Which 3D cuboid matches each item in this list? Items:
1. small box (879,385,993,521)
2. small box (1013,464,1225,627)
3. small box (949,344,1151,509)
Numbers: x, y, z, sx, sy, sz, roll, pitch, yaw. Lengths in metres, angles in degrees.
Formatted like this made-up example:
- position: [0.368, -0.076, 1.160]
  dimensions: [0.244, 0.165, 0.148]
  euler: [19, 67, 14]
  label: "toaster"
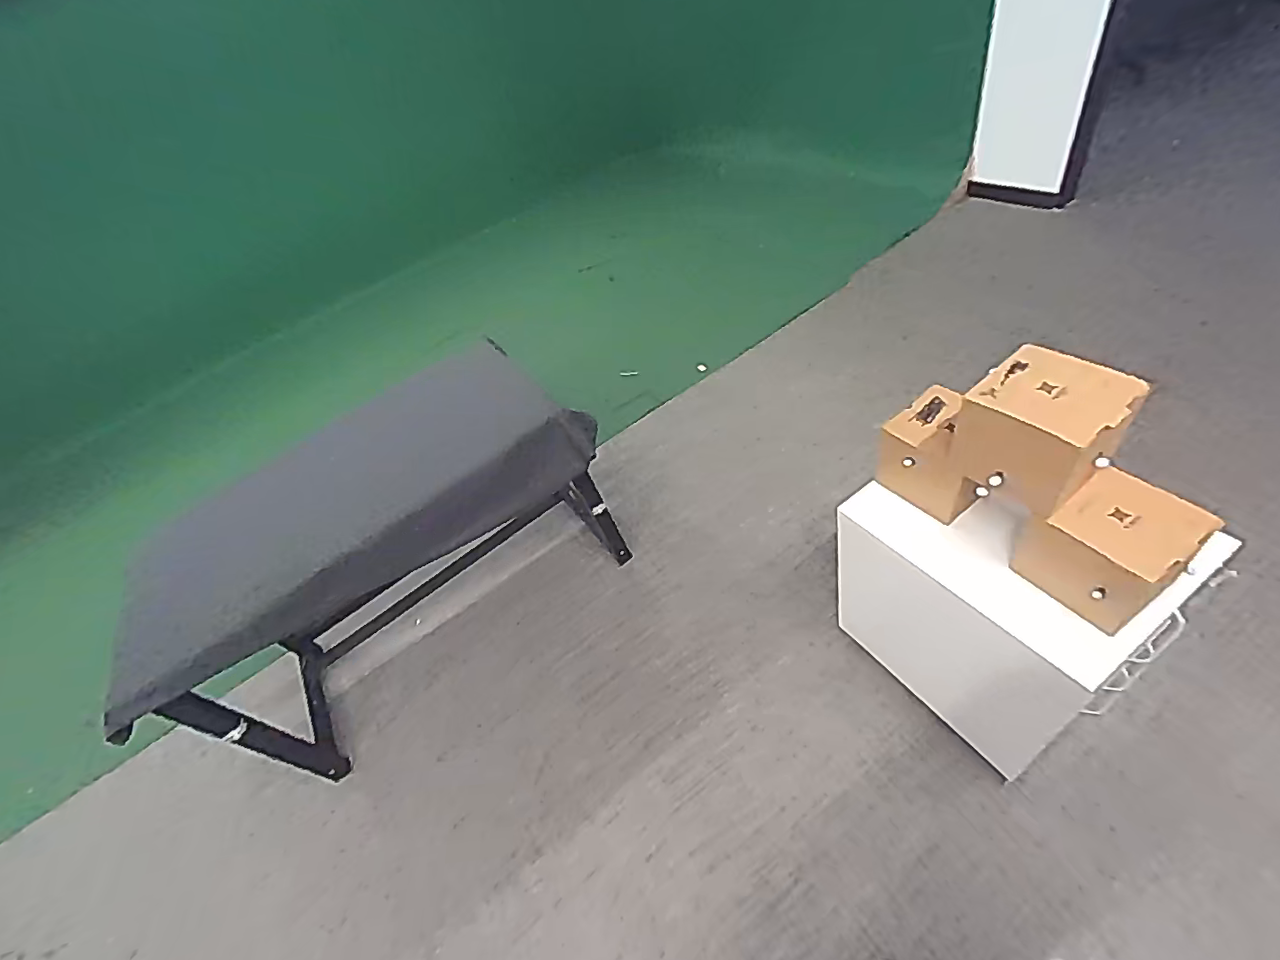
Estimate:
- position: [0.599, -0.050, 1.071]
  dimensions: [0.168, 0.176, 0.179]
  euler: [-36, 49, -12]
  label: "small box"
- position: [0.751, 0.111, 0.871]
  dimensions: [0.168, 0.176, 0.179]
  euler: [-33, 45, -11]
  label: "small box"
- position: [0.631, -0.078, 0.858]
  dimensions: [0.168, 0.176, 0.179]
  euler: [-36, 48, -13]
  label: "small box"
